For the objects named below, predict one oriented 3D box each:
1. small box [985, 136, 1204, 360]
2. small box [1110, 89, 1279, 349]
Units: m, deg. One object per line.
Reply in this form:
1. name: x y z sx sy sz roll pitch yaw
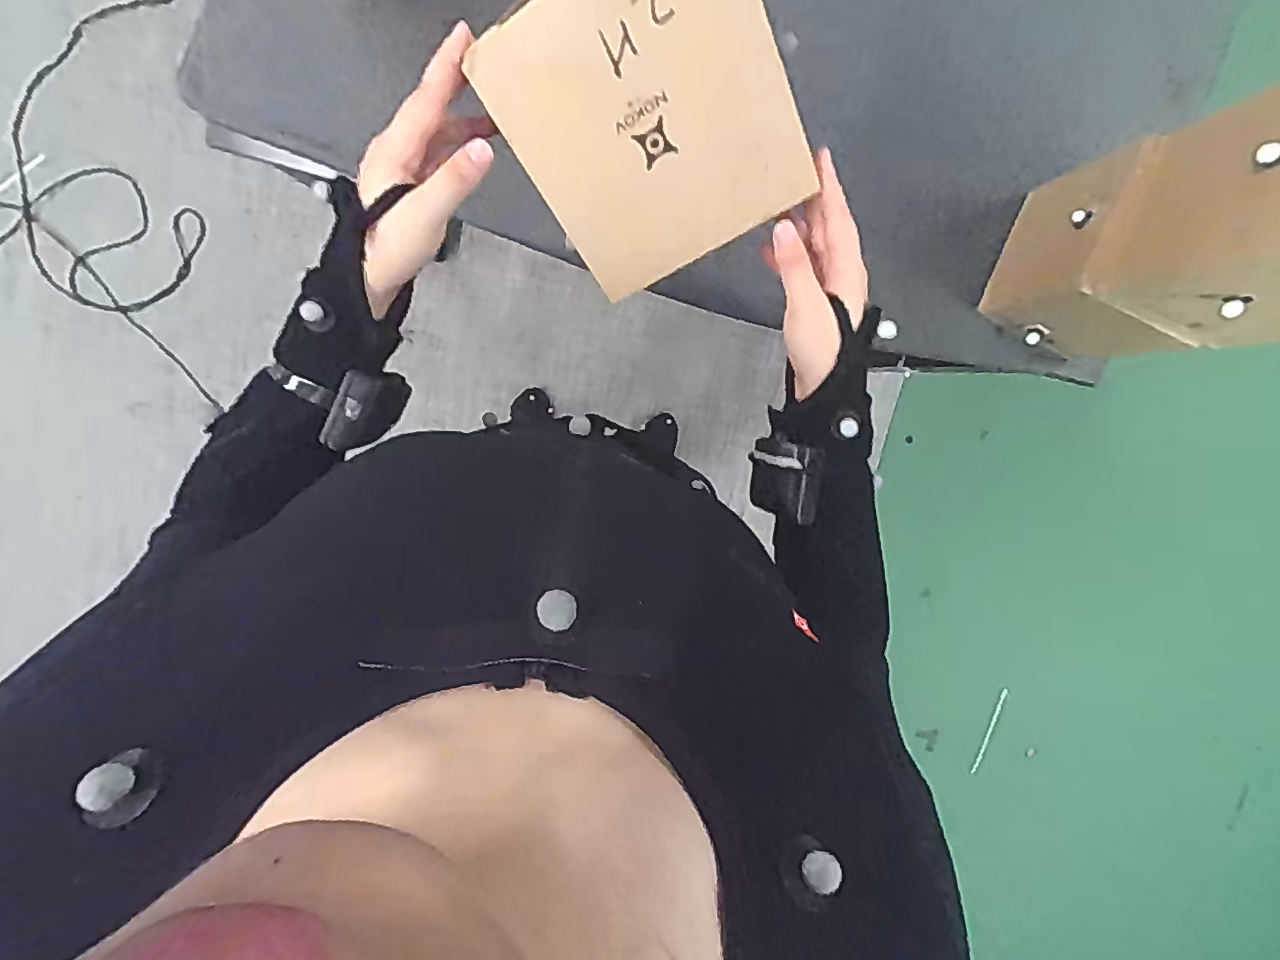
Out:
1. small box: 0.571 -0.261 0.658 0.168 0.176 0.179 22 96 -7
2. small box: 0.598 -0.235 0.499 0.168 0.176 0.179 20 95 -7
